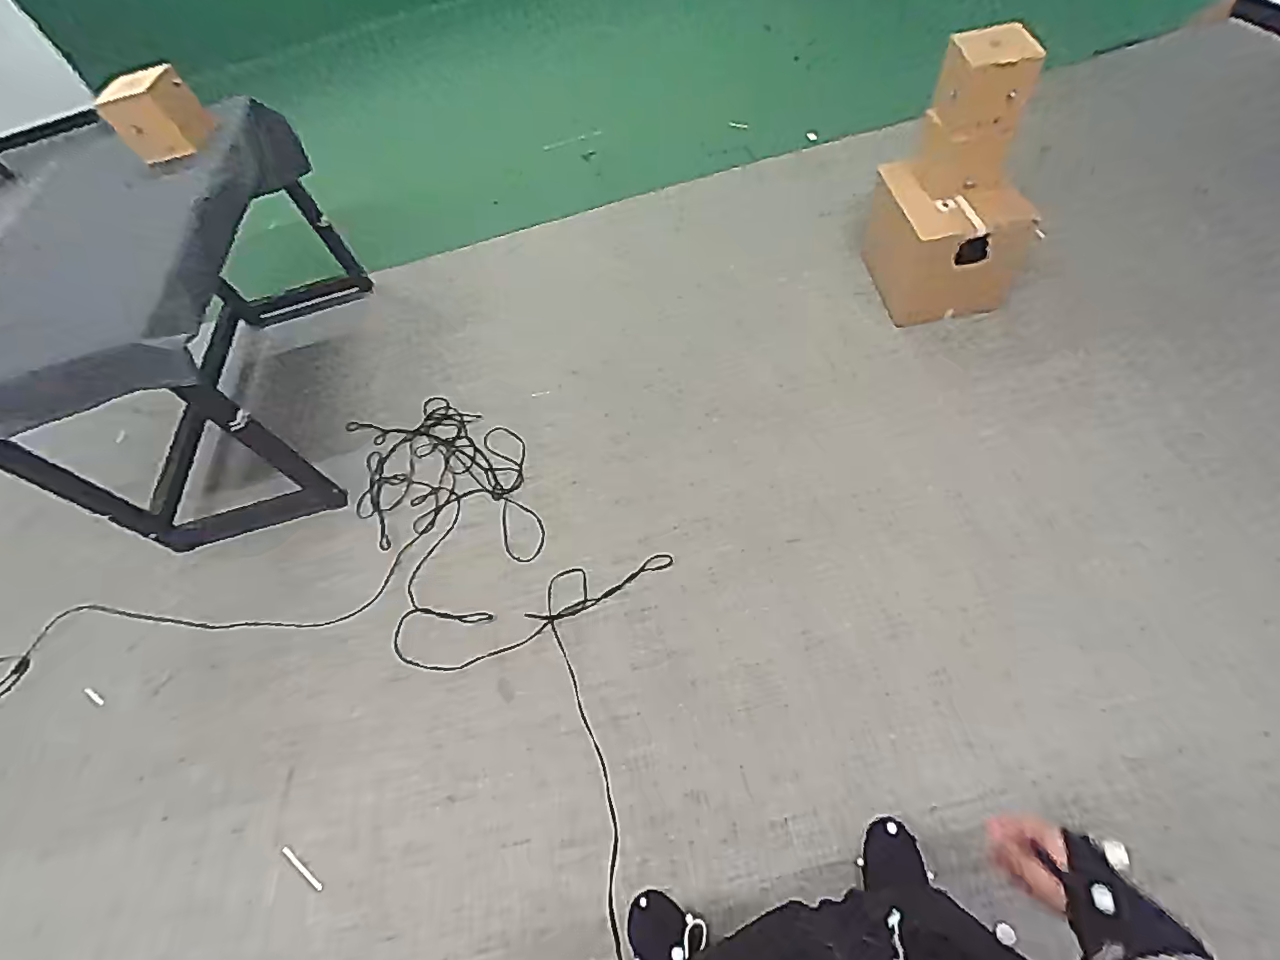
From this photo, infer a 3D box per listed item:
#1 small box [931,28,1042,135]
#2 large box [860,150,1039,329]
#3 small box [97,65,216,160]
[{"bbox_3d":[0.874,-1.009,1.384,0.168,0.176,0.179,-5,57,7],"label":"small box"},{"bbox_3d":[0.931,-0.749,1.697,0.320,0.320,0.408,-10,58,6],"label":"large box"},{"bbox_3d":[-1.392,-1.058,1.572,0.168,0.176,0.179,-10,57,6],"label":"small box"}]
